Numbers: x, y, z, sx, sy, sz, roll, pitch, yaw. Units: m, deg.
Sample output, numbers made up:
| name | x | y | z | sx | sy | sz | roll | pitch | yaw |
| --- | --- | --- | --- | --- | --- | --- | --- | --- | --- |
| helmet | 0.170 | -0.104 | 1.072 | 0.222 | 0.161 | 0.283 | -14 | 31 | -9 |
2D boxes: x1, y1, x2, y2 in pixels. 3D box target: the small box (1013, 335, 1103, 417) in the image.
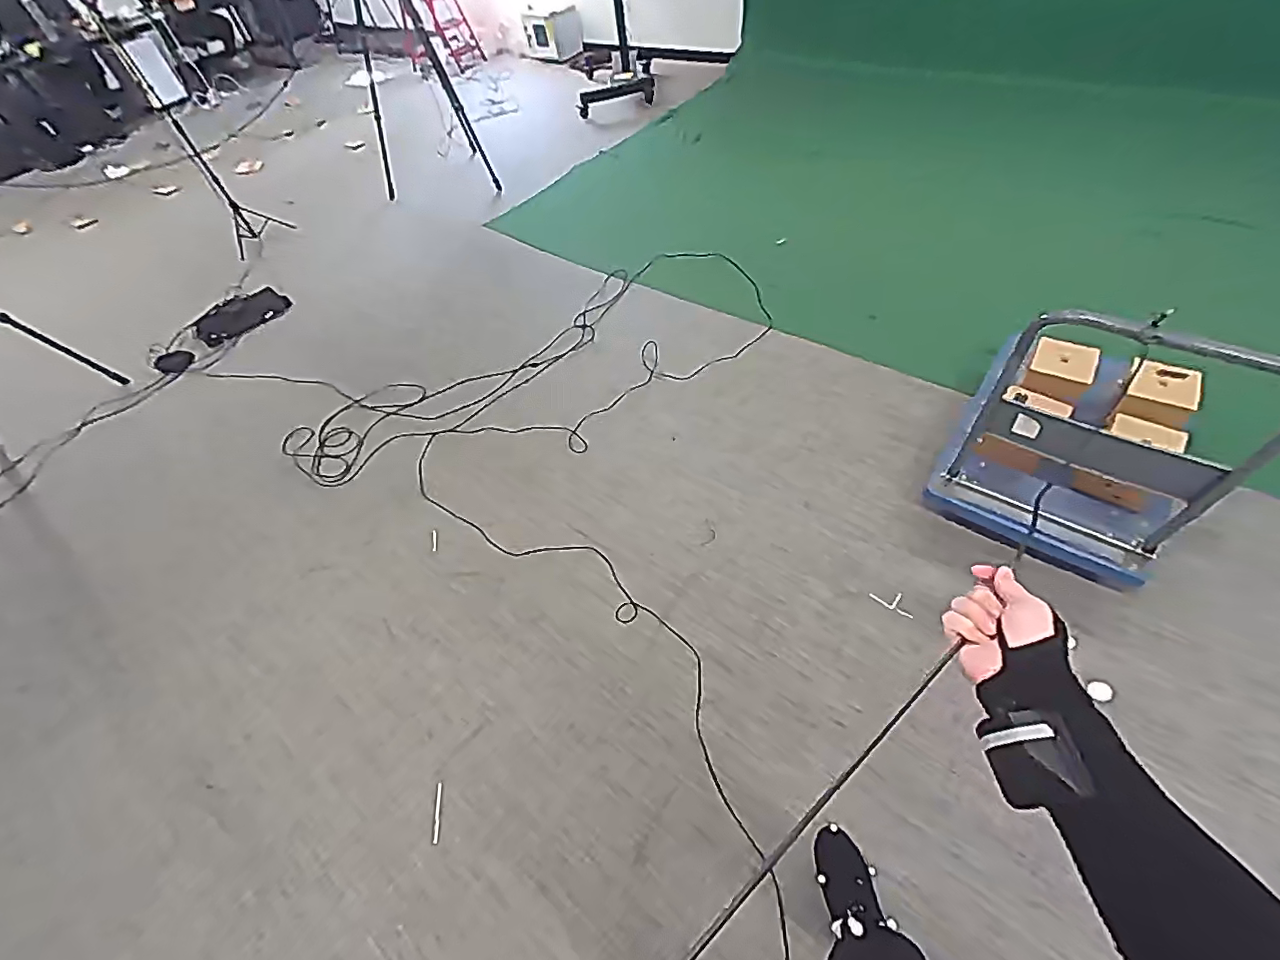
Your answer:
| name | x | y | z | sx | sy | sz | roll | pitch | yaw |
| --- | --- | --- | --- | --- | --- | --- | --- | --- | --- |
| small box | 1.339 | -0.333 | 1.743 | 0.168 | 0.176 | 0.179 | 25 | 60 | 25 |

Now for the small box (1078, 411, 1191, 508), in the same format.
| name | x | y | z | sx | sy | sz | roll | pitch | yaw |
| --- | --- | --- | --- | --- | --- | --- | --- | --- | --- |
| small box | 1.385 | -0.057 | 1.523 | 0.168 | 0.176 | 0.179 | 29 | 63 | 27 |

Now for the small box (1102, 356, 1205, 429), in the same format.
| name | x | y | z | sx | sy | sz | roll | pitch | yaw |
| --- | --- | --- | --- | --- | --- | --- | --- | --- | --- |
| small box | 1.548 | -0.241 | 1.636 | 0.168 | 0.176 | 0.179 | 24 | 61 | 26 |
